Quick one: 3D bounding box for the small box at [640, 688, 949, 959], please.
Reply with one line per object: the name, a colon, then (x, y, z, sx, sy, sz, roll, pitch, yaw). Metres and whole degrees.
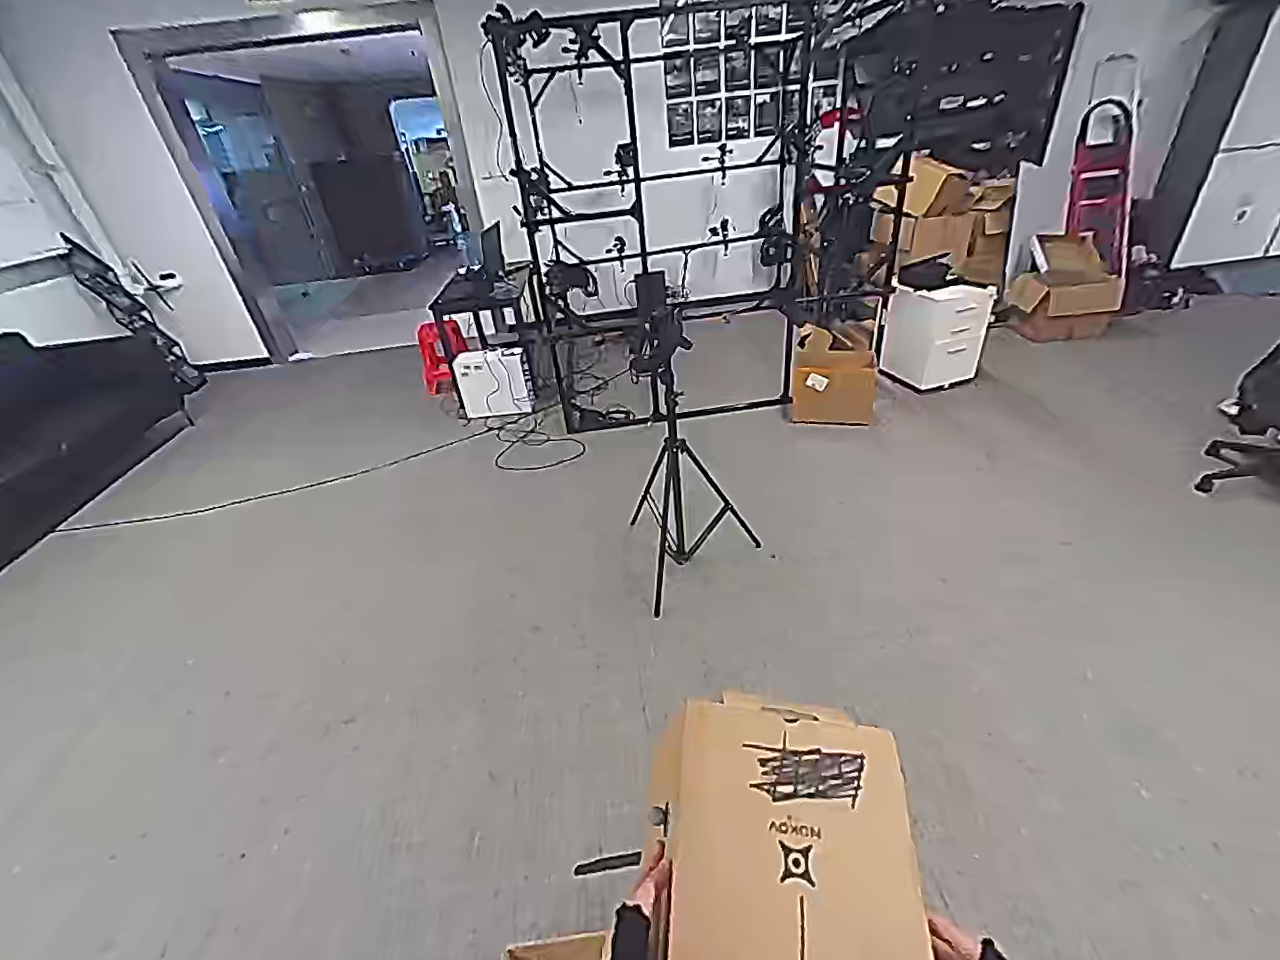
small box: (0.097, 0.285, 0.410, 0.168, 0.176, 0.179, 10, 50, -1)
